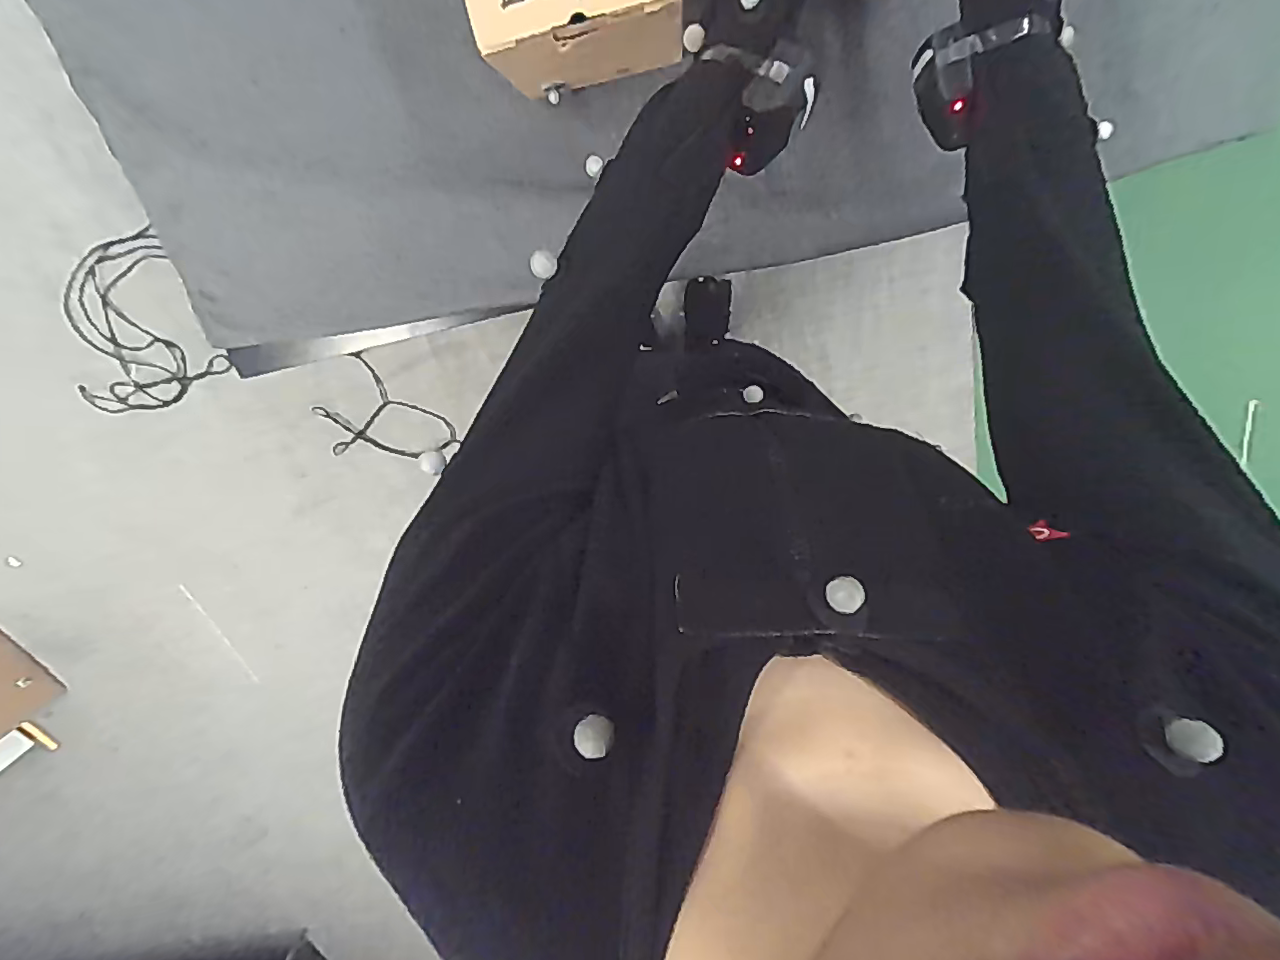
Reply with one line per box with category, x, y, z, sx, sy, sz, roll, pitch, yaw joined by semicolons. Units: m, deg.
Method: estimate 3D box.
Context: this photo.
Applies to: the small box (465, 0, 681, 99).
small box;-0.058;-0.454;0.463;0.168;0.176;0.179;-9;112;8
